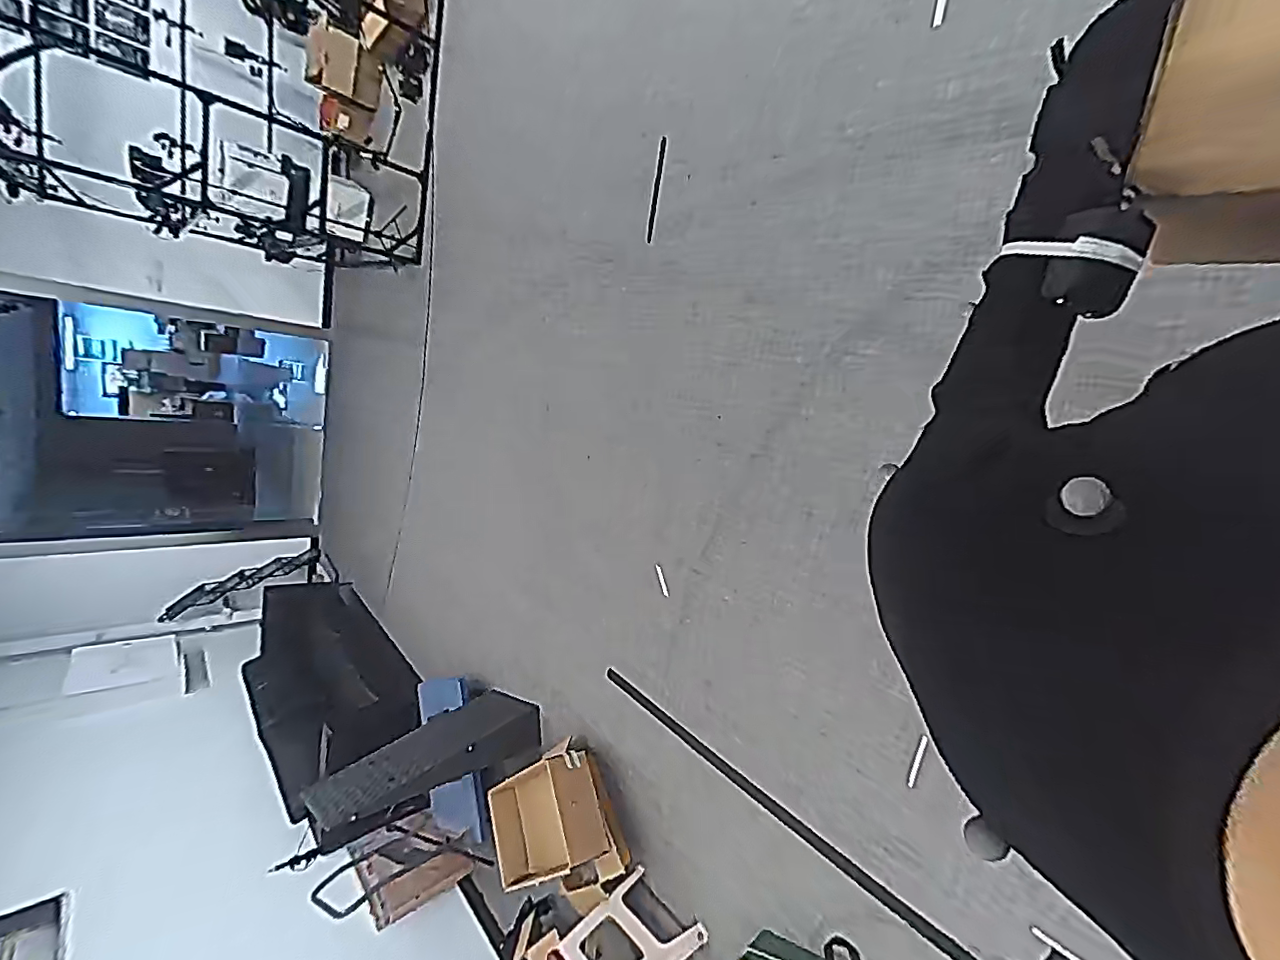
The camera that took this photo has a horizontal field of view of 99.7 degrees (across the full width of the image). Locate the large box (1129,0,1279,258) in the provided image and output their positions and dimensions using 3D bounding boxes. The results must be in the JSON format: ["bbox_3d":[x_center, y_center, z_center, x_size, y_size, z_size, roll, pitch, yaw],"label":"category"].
[{"bbox_3d":[0.613,-0.333,0.332,0.408,0.320,0.320,19,111,43],"label":"large box"}]
